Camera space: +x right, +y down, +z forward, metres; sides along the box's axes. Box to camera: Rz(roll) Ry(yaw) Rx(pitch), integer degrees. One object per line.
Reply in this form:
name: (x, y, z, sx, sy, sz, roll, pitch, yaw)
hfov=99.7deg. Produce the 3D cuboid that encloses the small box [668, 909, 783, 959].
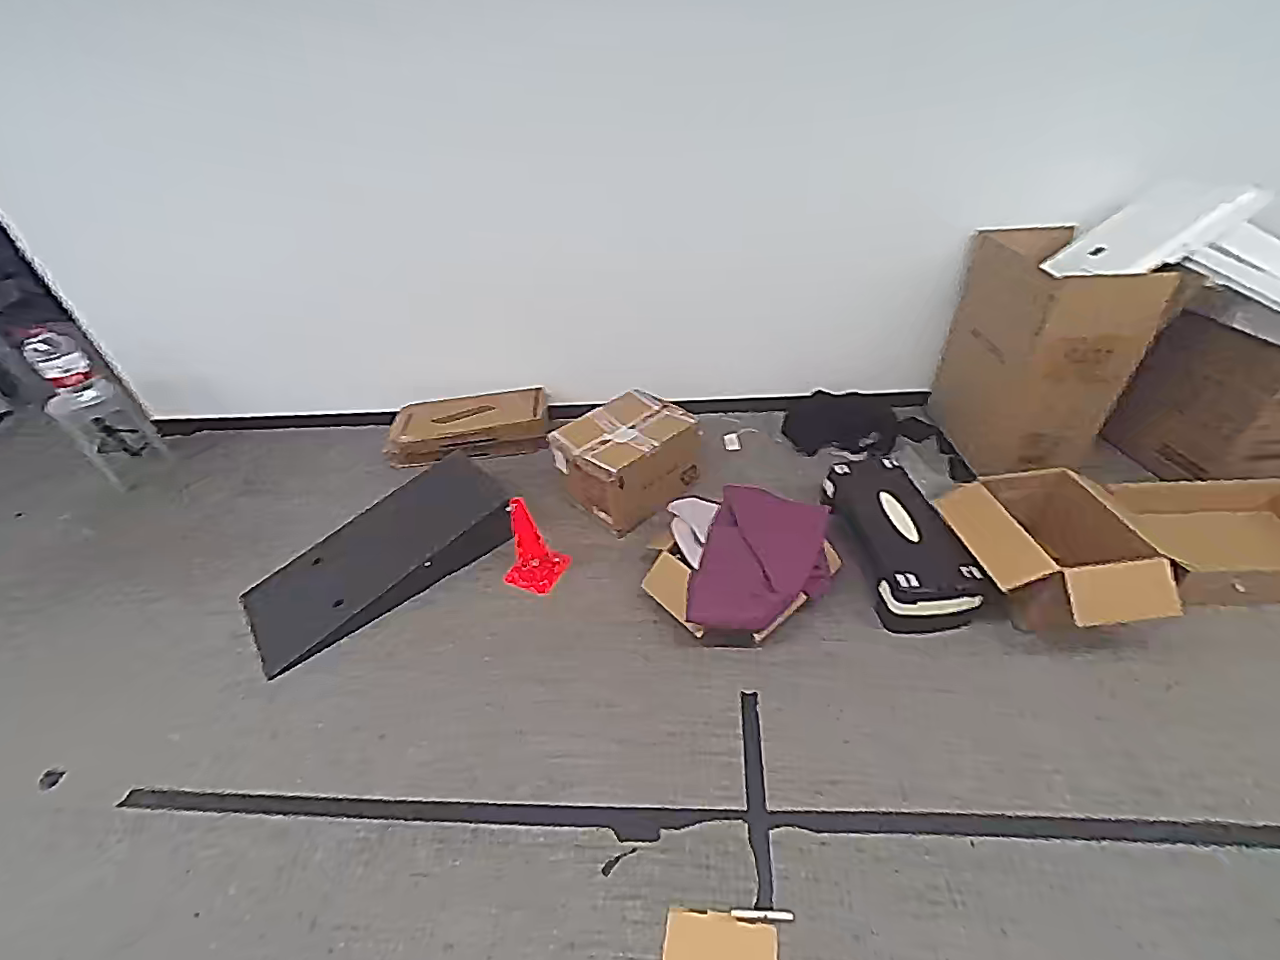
small box: (0.120, 0.776, 0.797, 0.168, 0.176, 0.179, 2, 40, 11)
